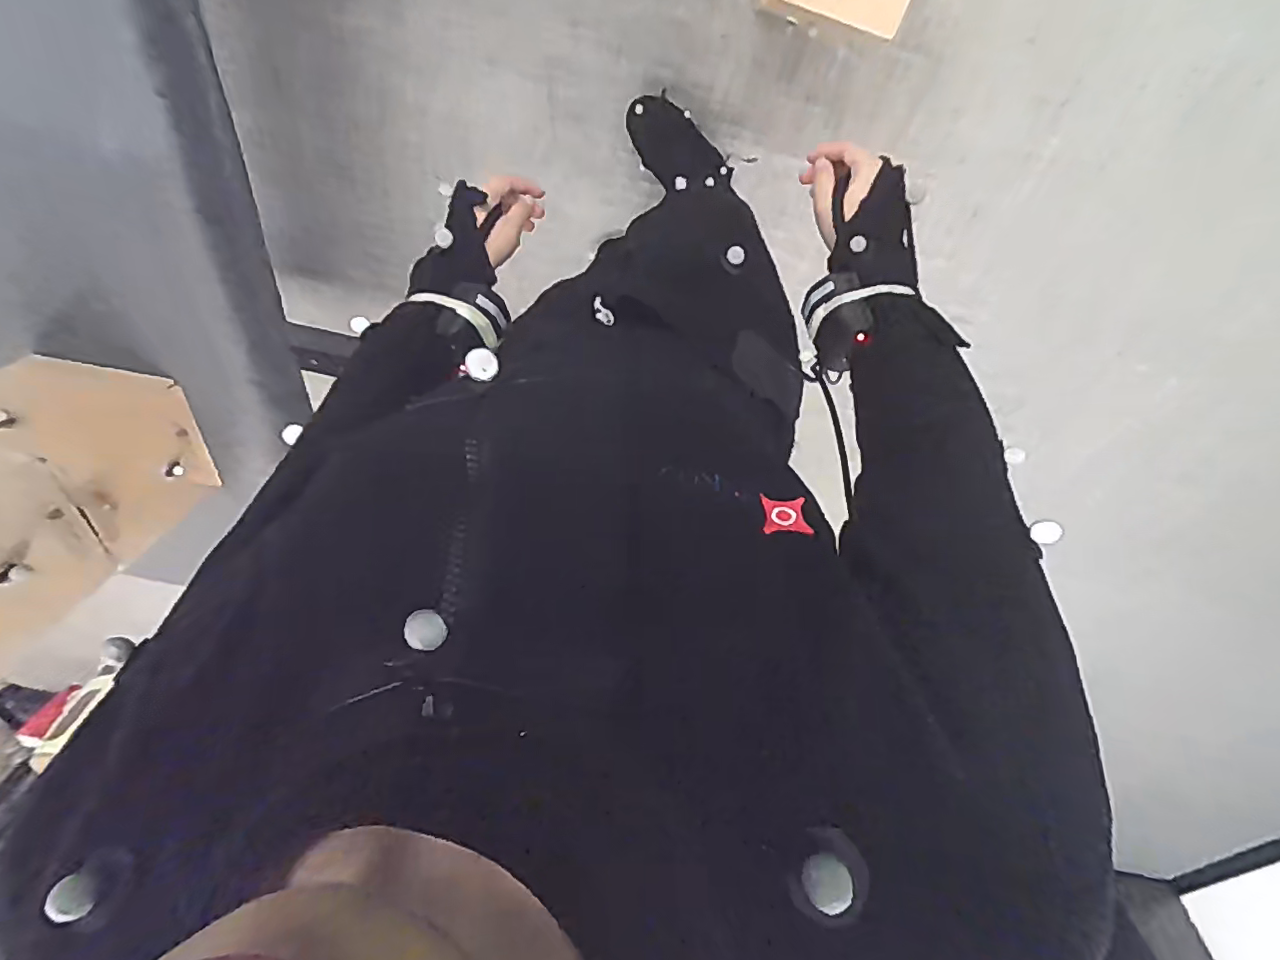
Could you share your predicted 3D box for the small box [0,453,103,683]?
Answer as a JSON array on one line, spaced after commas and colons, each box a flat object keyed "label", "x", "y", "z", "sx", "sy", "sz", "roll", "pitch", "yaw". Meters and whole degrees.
[{"label": "small box", "x": -0.663, "y": 0.077, "z": 0.495, "sx": 0.179, "sy": 0.176, "sz": 0.168, "roll": 8, "pitch": 128, "yaw": -1}]

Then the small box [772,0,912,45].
[{"label": "small box", "x": 0.280, "y": -0.698, "z": 0.699, "sx": 0.168, "sy": 0.176, "sz": 0.179, "roll": 17, "pitch": 129, "yaw": -4}]

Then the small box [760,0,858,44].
[{"label": "small box", "x": 0.290, "y": -0.802, "z": 0.826, "sx": 0.168, "sy": 0.176, "sz": 0.179, "roll": 17, "pitch": 129, "yaw": -5}]

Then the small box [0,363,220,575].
[{"label": "small box", "x": -0.650, "y": -0.019, "z": 0.627, "sx": 0.179, "sy": 0.176, "sz": 0.168, "roll": 10, "pitch": 128, "yaw": -1}]
